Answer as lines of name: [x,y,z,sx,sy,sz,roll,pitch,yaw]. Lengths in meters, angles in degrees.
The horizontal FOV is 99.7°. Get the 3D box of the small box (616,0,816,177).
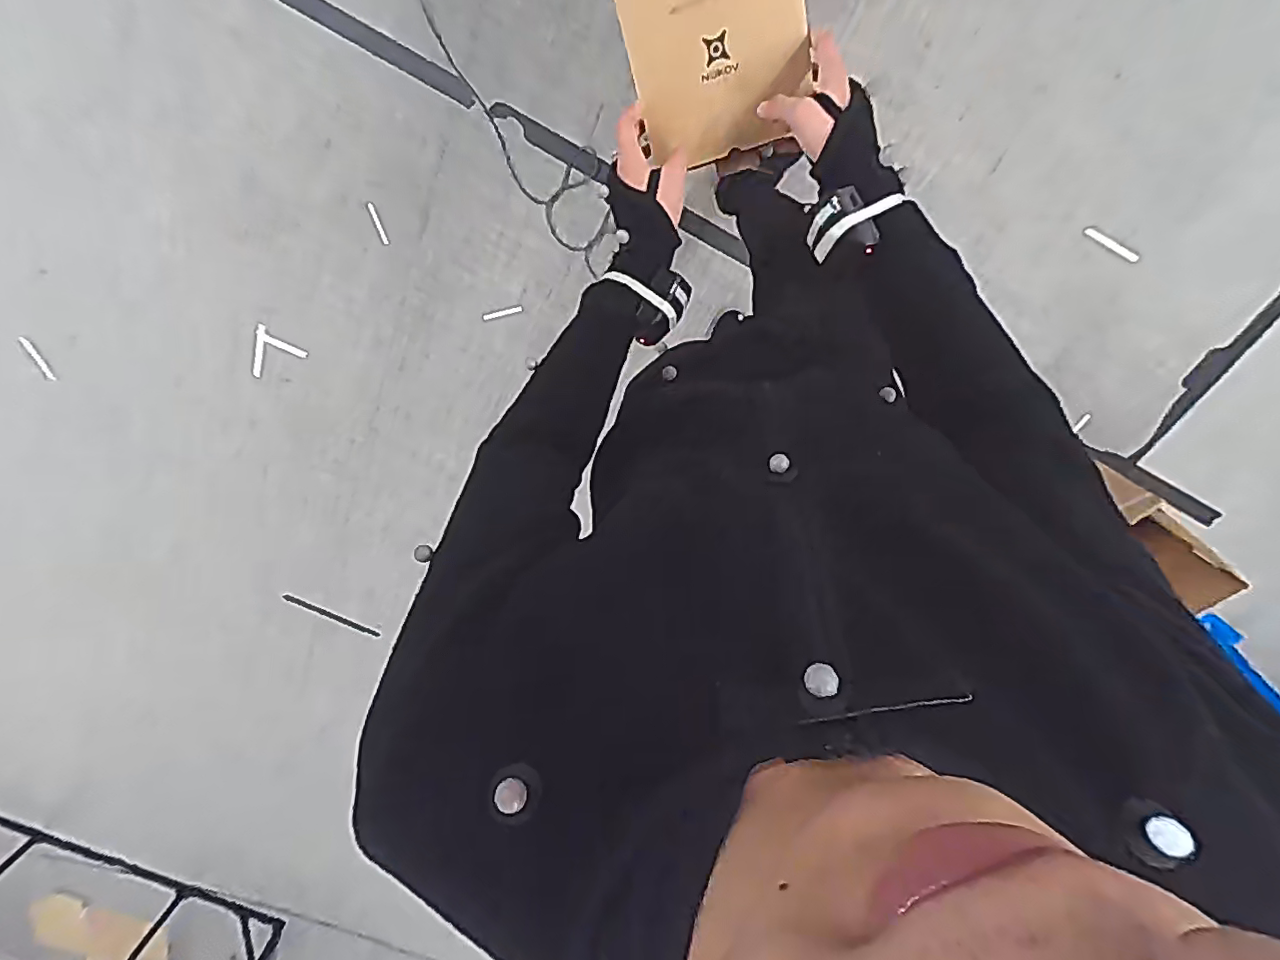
small box: [0.082,-0.444,0.565,0.168,0.176,0.179,-10,122,15]
